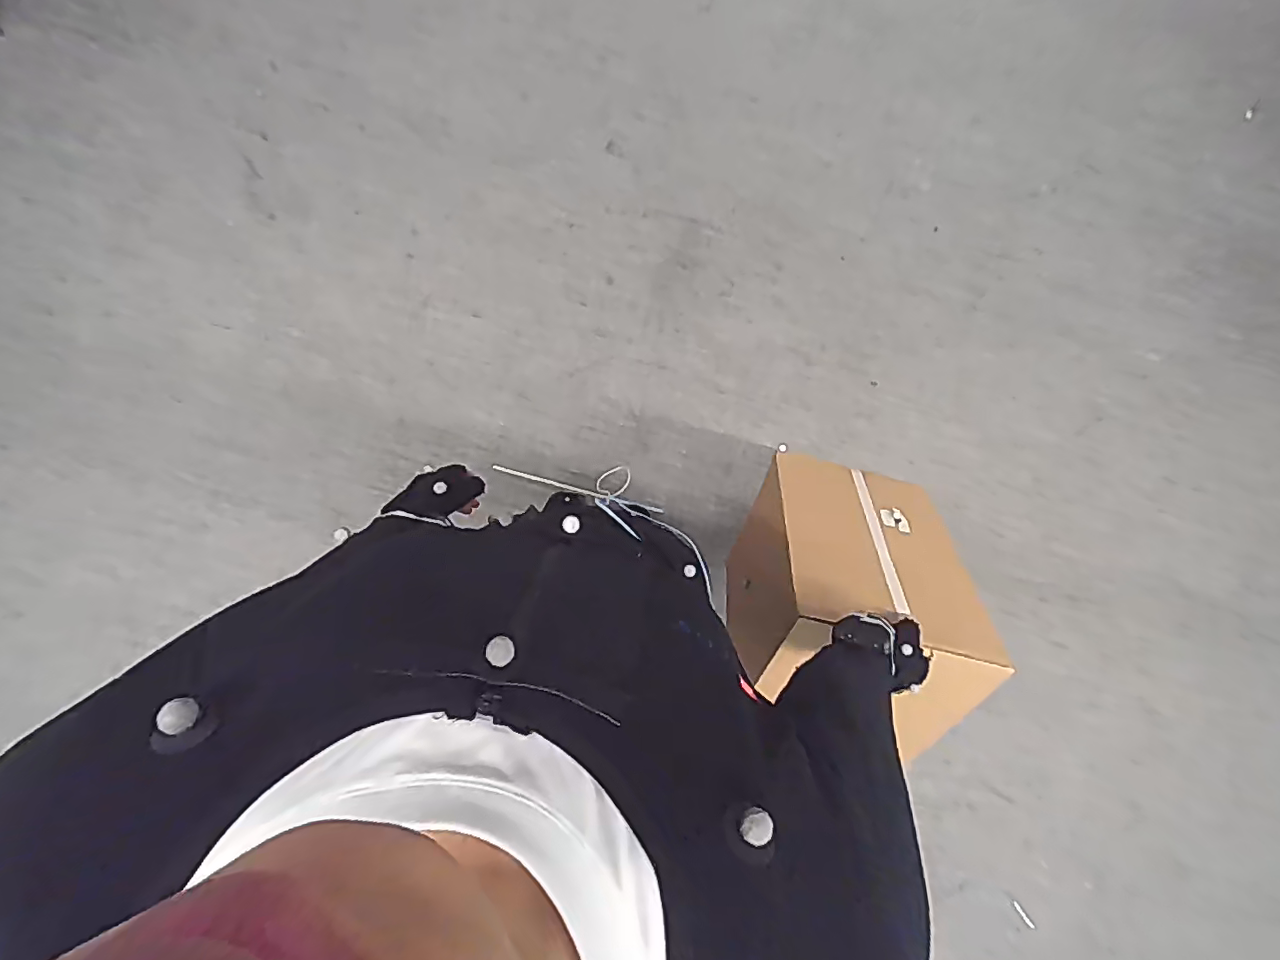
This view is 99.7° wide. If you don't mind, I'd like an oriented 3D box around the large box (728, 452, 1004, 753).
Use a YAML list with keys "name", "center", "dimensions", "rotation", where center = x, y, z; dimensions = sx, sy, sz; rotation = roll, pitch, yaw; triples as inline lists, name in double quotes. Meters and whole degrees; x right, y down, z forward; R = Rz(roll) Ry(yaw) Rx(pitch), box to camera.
- name: "large box"
  center: [0.354, 0.213, 0.993]
  dimensions: [0.320, 0.408, 0.320]
  rotation: [15, 127, -2]
